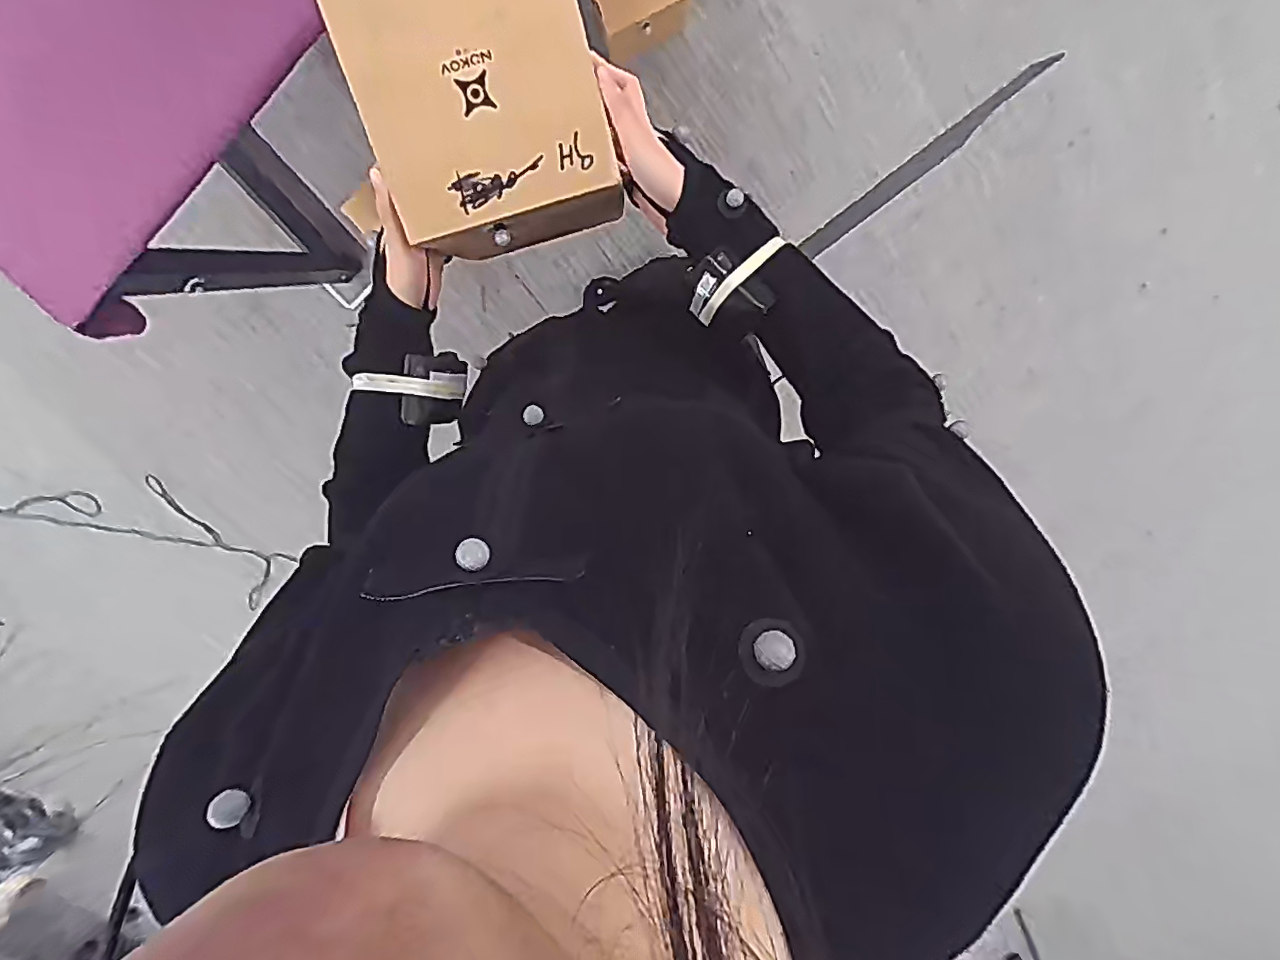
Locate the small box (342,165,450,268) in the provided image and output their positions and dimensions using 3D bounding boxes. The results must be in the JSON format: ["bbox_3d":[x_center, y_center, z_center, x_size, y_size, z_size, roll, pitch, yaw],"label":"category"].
[{"bbox_3d":[-0.524,-0.606,1.235,0.179,0.176,0.168,-34,108,13],"label":"small box"}]

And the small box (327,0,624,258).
[{"bbox_3d":[-0.112,-0.297,0.443,0.168,0.176,0.179,-14,108,4],"label":"small box"}]

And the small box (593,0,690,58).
[{"bbox_3d":[-0.009,-0.984,1.066,0.179,0.176,0.168,-19,111,10],"label":"small box"}]
